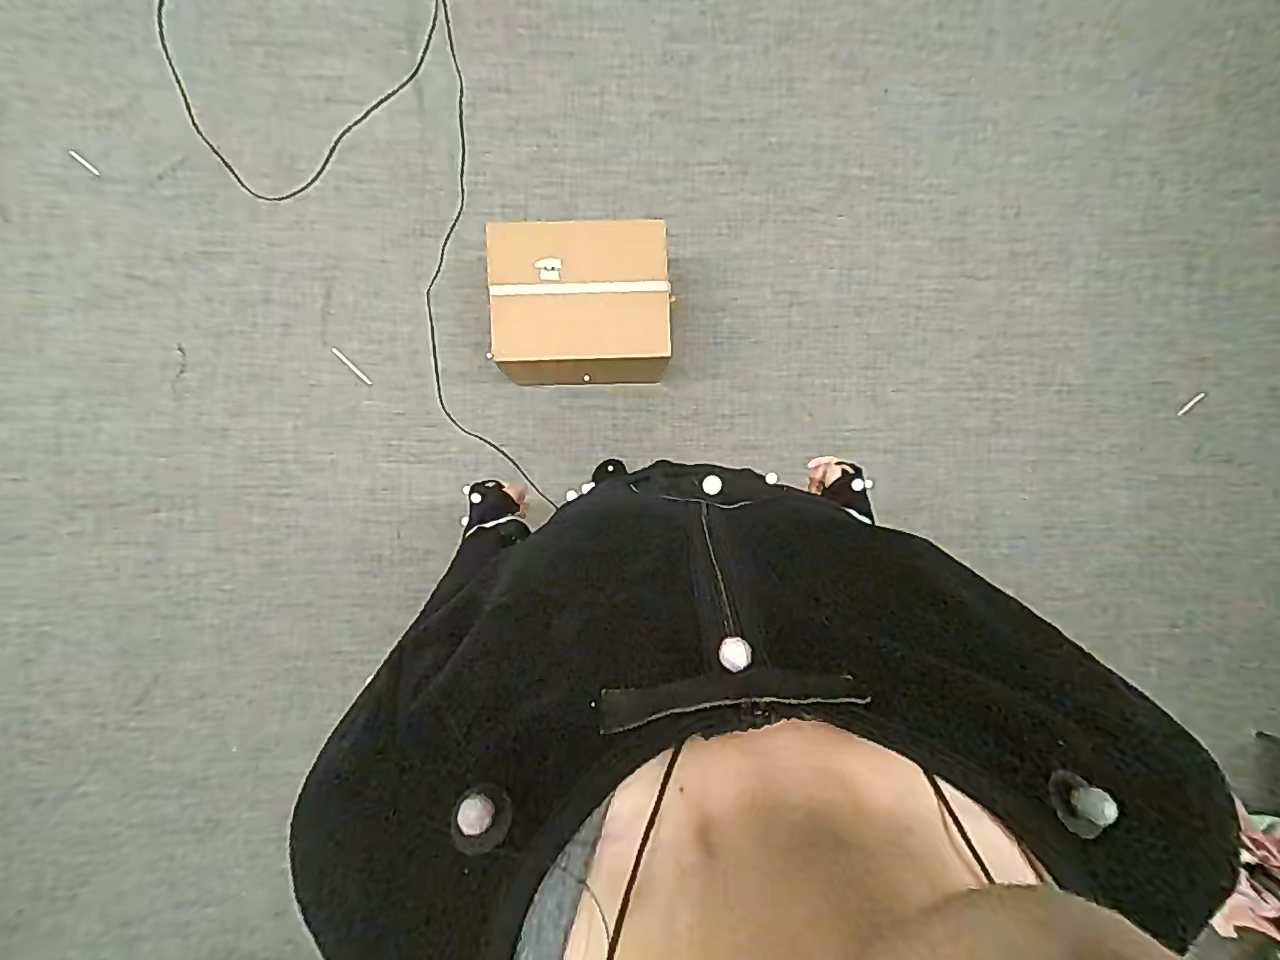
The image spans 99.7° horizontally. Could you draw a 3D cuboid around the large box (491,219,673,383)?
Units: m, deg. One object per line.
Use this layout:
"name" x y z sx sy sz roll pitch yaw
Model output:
"large box" -0.132 -0.428 1.364 0.408 0.320 0.320 -2 89 -1
